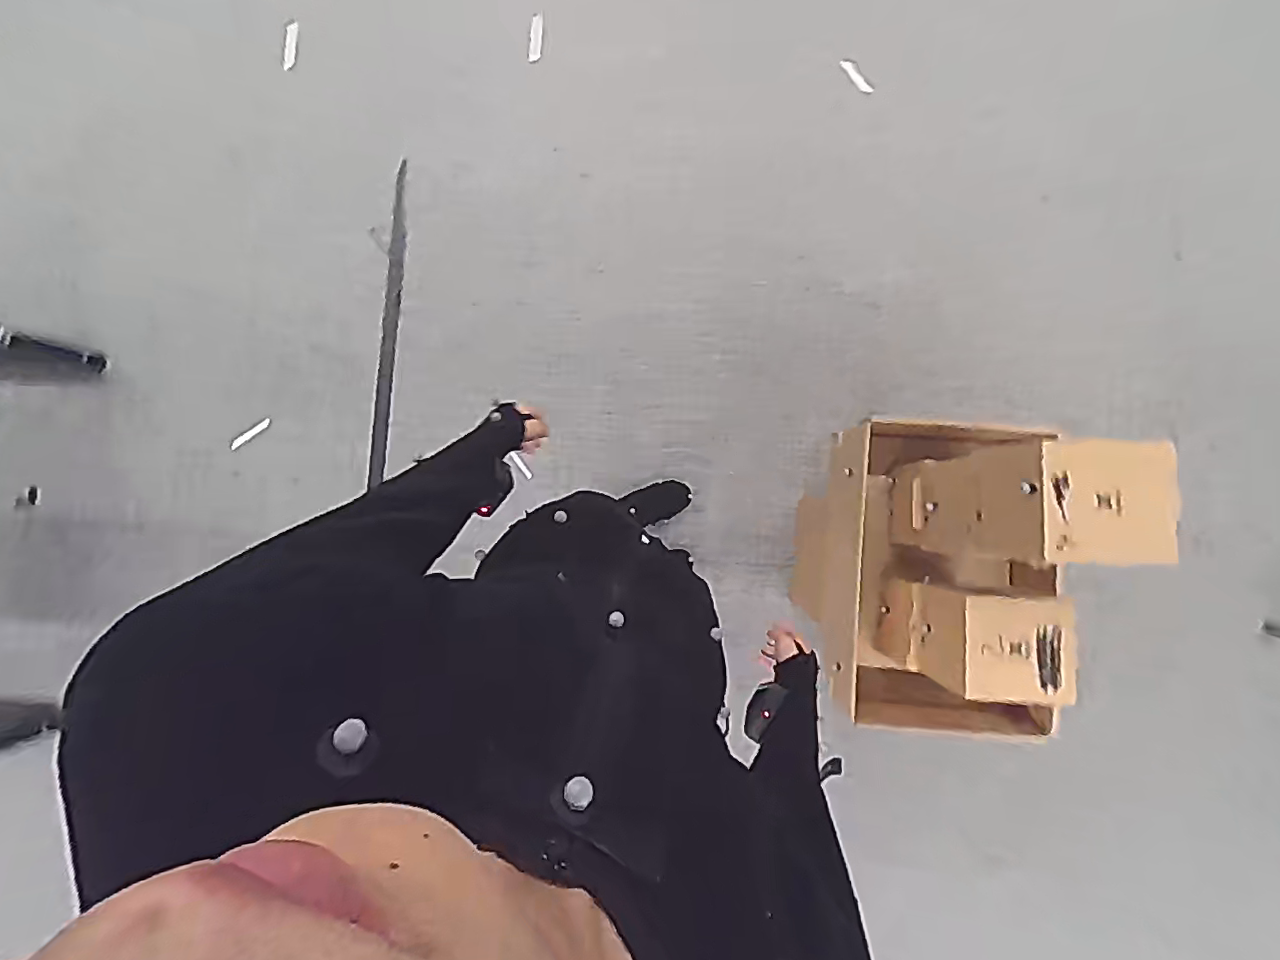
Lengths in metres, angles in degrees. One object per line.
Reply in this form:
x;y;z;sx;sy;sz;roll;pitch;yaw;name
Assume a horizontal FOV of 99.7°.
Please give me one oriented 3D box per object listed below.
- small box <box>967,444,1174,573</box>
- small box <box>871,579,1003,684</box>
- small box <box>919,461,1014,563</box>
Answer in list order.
0.619;0.041;0.794;0.179;0.176;0.168;2;86;1;small box
0.601;0.301;1.111;0.179;0.176;0.168;7;86;3;small box
0.624;0.057;0.958;0.179;0.176;0.168;2;87;3;small box
